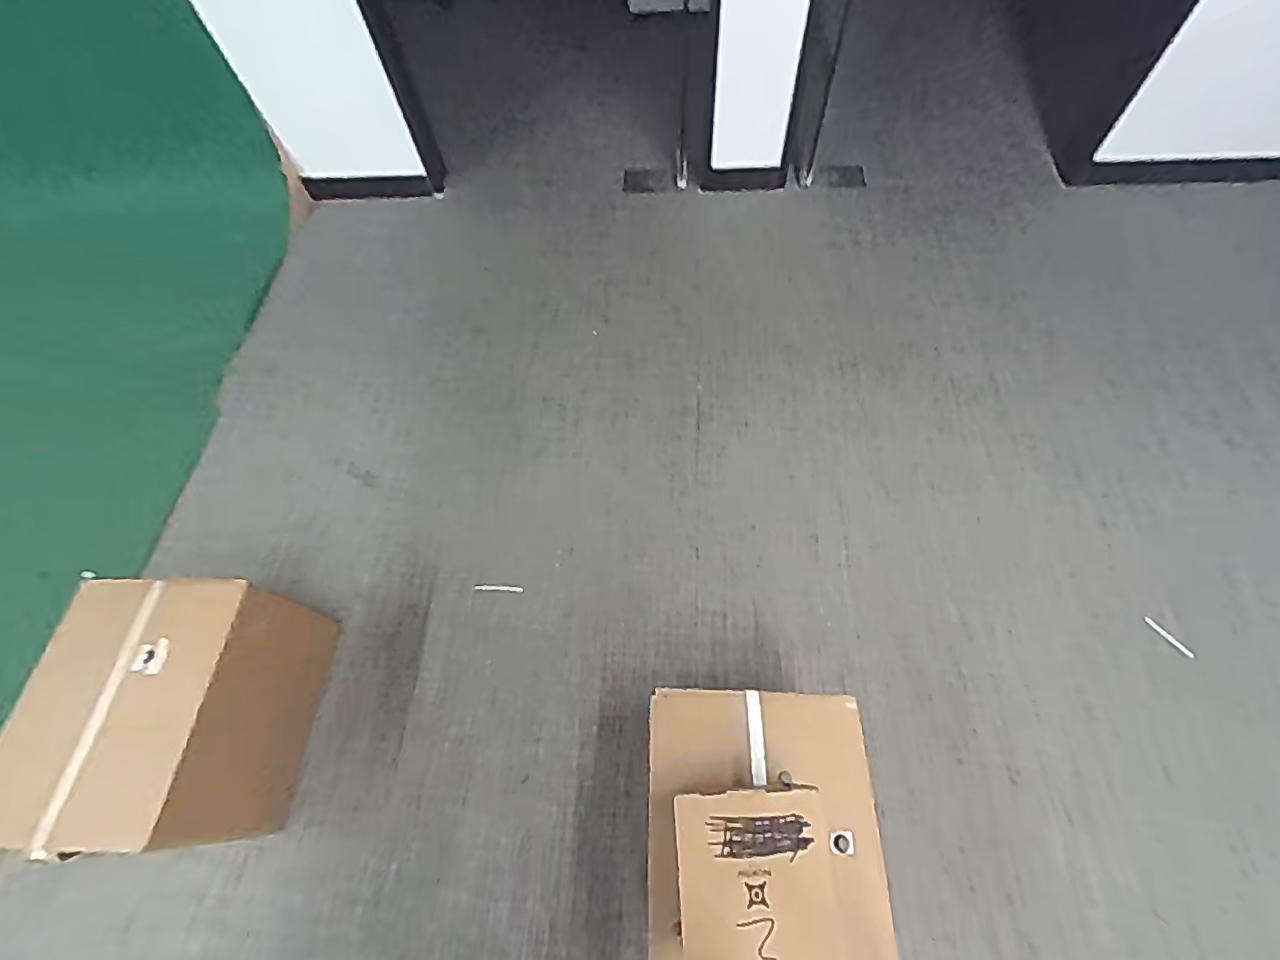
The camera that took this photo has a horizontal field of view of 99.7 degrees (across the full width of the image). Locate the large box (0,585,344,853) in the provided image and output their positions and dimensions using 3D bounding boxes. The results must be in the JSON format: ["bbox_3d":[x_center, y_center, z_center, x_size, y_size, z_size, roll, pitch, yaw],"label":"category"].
[{"bbox_3d":[-0.827,0.437,1.004,0.320,0.320,0.408,0,60,4],"label":"large box"}]
